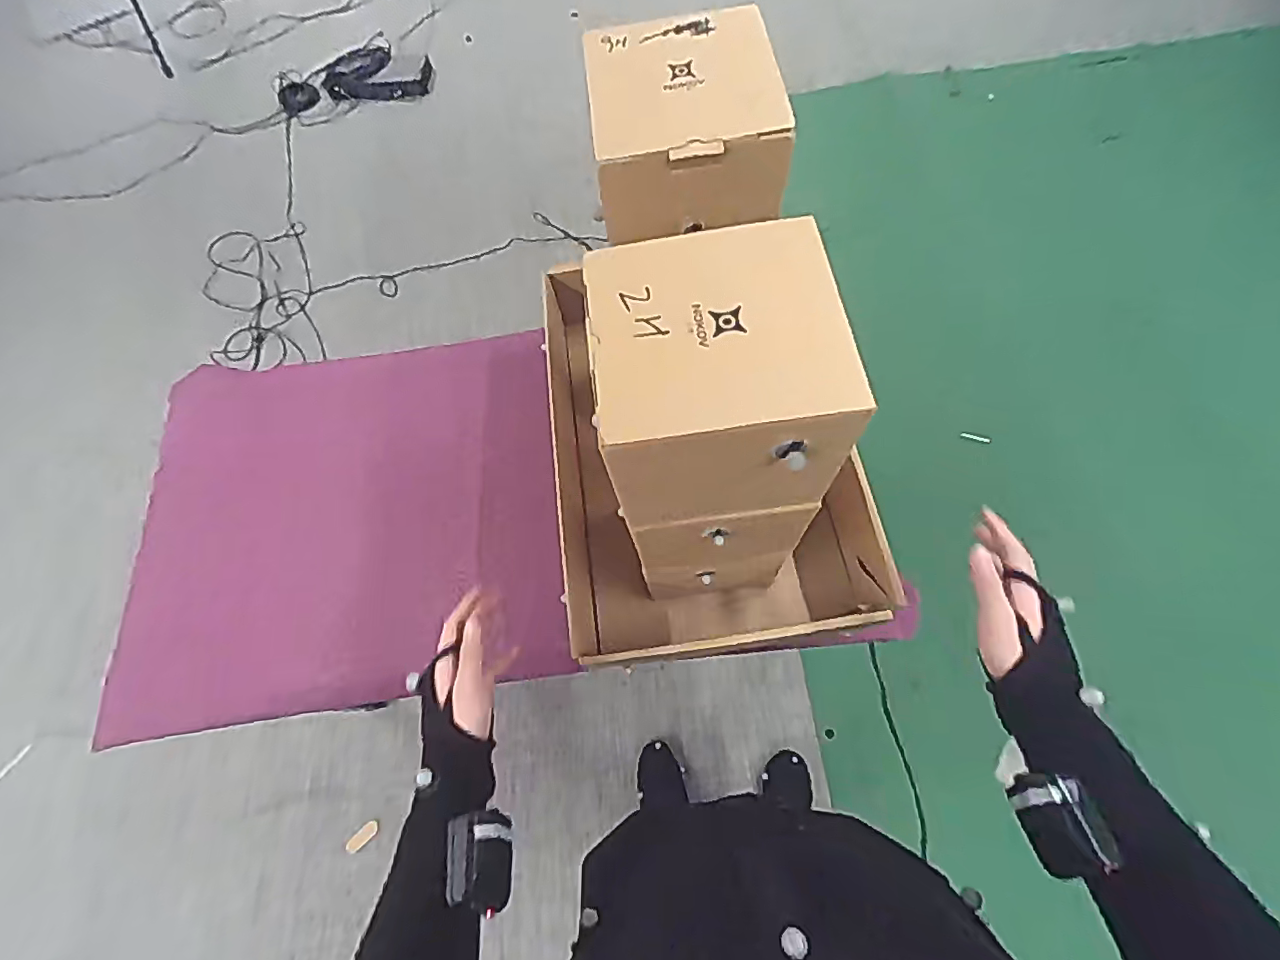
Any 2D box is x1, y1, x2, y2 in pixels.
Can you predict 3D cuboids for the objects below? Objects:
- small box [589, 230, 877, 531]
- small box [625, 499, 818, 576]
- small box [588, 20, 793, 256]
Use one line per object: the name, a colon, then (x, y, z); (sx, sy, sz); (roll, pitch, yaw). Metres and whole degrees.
small box: (0.061, -0.067, 0.441); (0.179, 0.176, 0.168); (-7, 66, 3)
small box: (0.076, 0.001, 0.590); (0.179, 0.176, 0.168); (-6, 67, 3)
small box: (0.045, -0.307, 0.546); (0.168, 0.176, 0.179); (-7, 68, 2)
